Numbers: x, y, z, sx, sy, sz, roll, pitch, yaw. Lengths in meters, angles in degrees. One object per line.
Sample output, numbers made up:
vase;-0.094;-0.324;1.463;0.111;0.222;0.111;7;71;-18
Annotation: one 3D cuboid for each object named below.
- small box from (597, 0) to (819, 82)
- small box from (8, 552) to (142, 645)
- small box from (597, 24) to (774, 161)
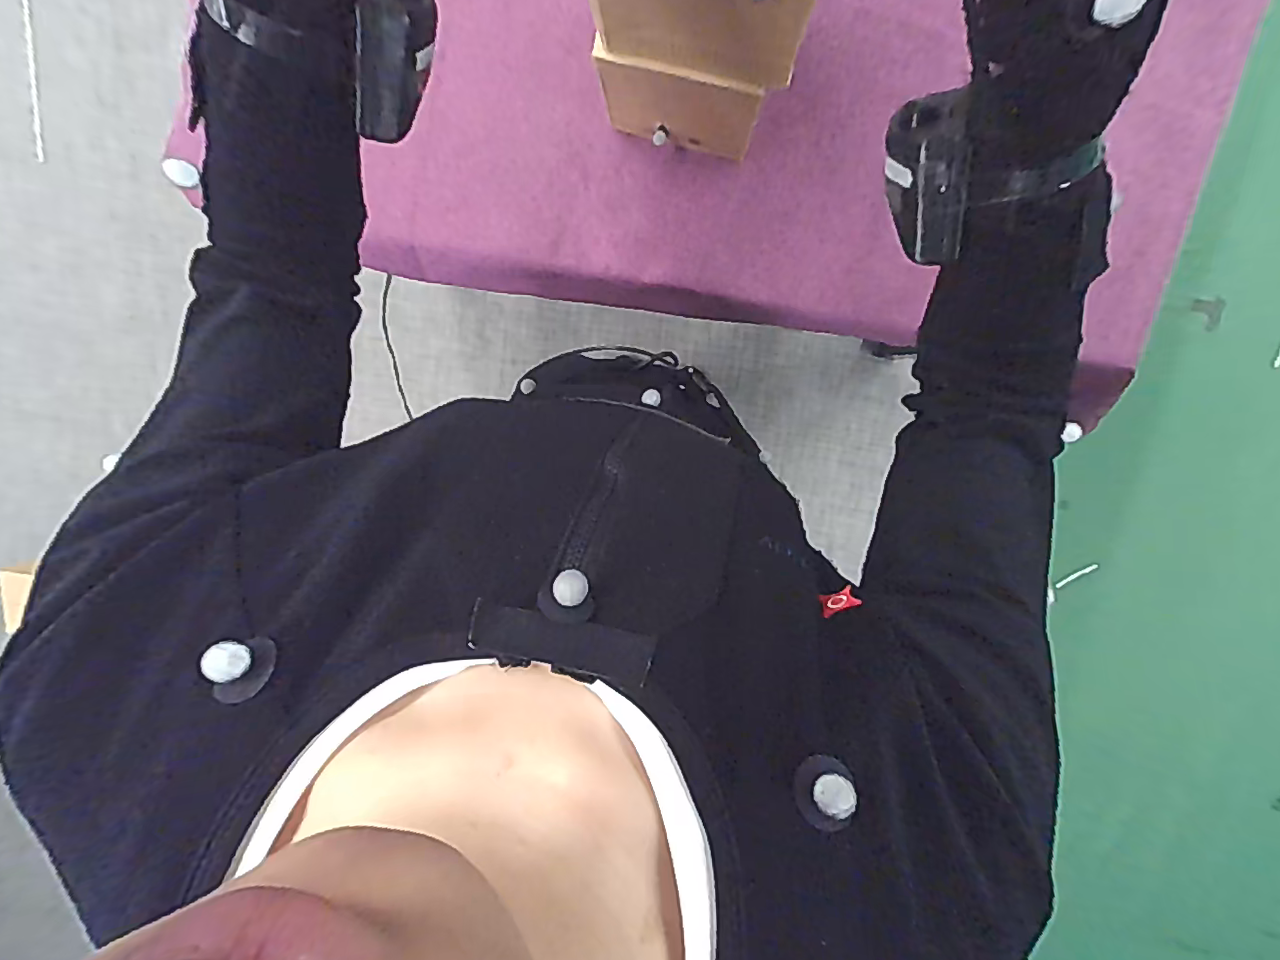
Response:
small box;0.061;-0.430;0.392;0.179;0.176;0.168;12;102;1
small box;-1.414;0.293;1.369;0.179;0.176;0.168;8;102;2
small box;0.063;-0.463;0.550;0.168;0.176;0.179;14;103;1
